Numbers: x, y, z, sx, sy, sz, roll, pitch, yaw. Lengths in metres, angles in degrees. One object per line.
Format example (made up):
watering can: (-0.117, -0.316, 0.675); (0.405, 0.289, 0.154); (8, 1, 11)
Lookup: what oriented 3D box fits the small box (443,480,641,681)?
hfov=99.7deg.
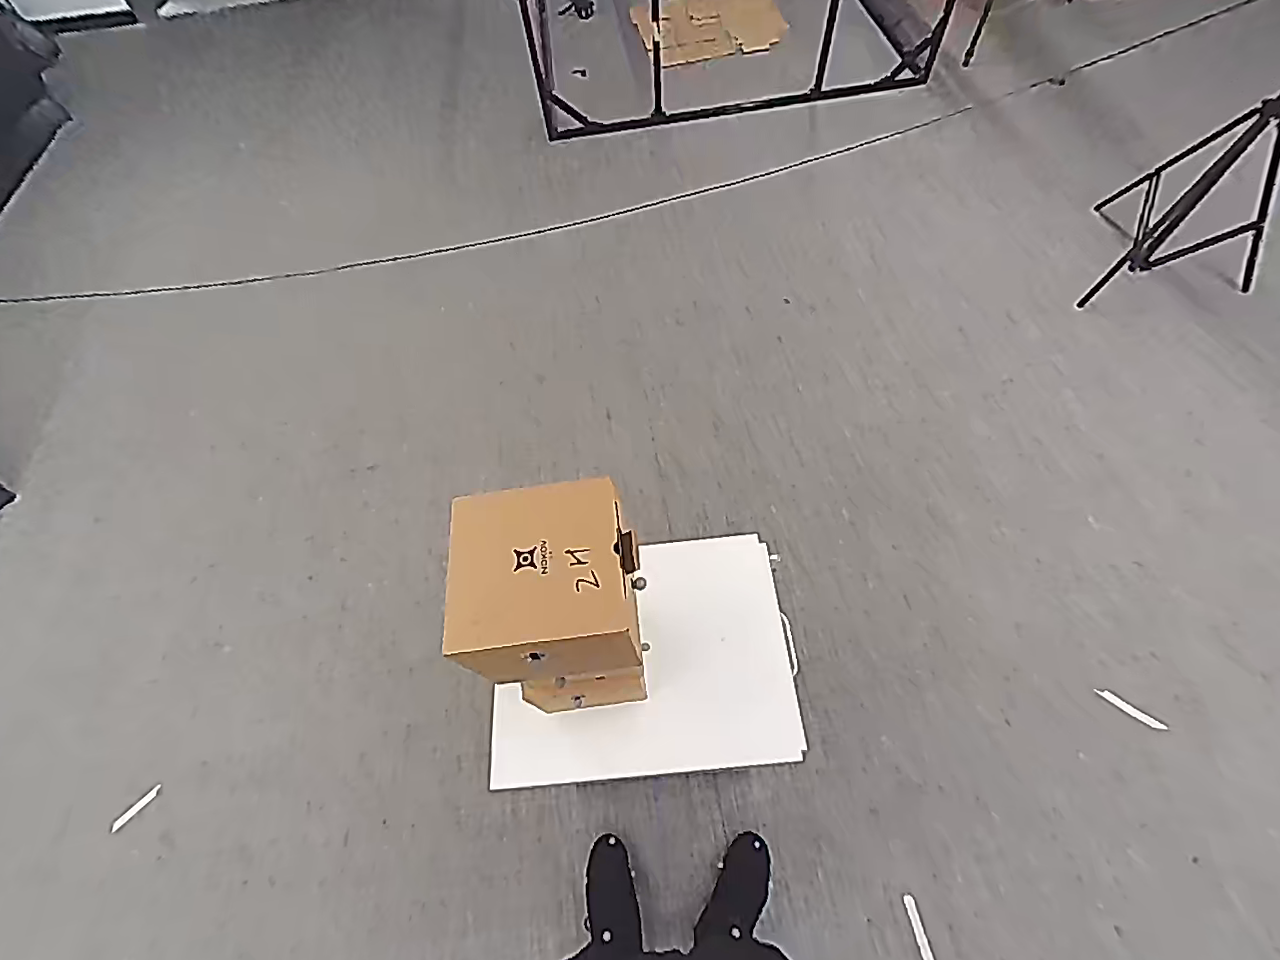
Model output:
small box: (-0.098, 0.120, 0.606); (0.179, 0.176, 0.168); (-7, 61, 0)

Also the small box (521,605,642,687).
small box: (-0.090, 0.185, 0.758); (0.168, 0.176, 0.179); (-7, 60, 0)

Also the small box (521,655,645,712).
small box: (-0.090, 0.278, 0.892); (0.179, 0.176, 0.168); (-7, 60, -1)
